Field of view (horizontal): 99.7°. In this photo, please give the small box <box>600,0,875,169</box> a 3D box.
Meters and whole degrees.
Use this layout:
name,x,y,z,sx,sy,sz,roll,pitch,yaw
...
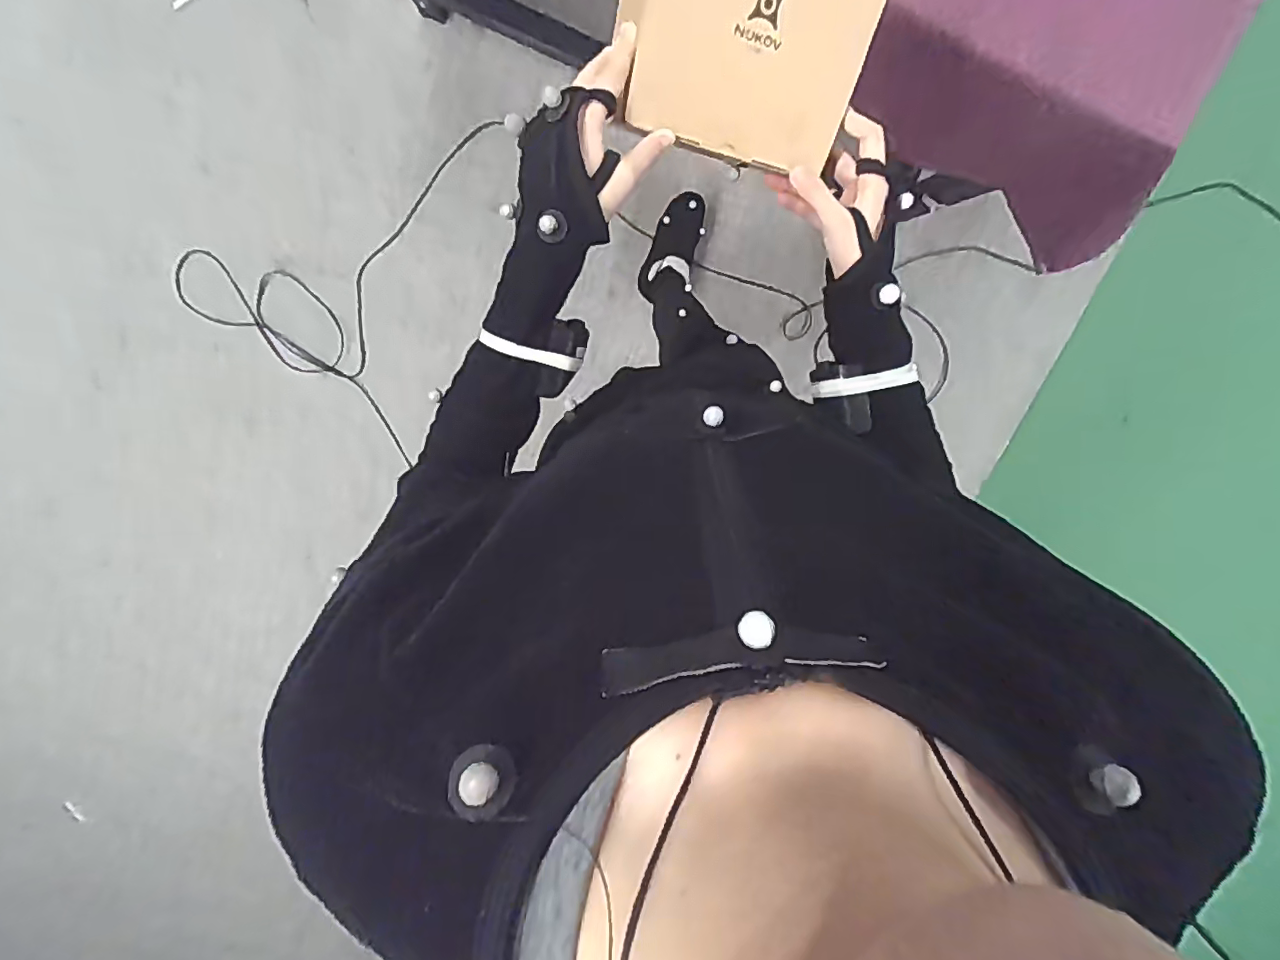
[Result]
name,x,y,z,sx,sy,sz,roll,pitch,yaw
small box,0.068,-0.373,0.433,0.168,0.176,0.179,7,121,-17
